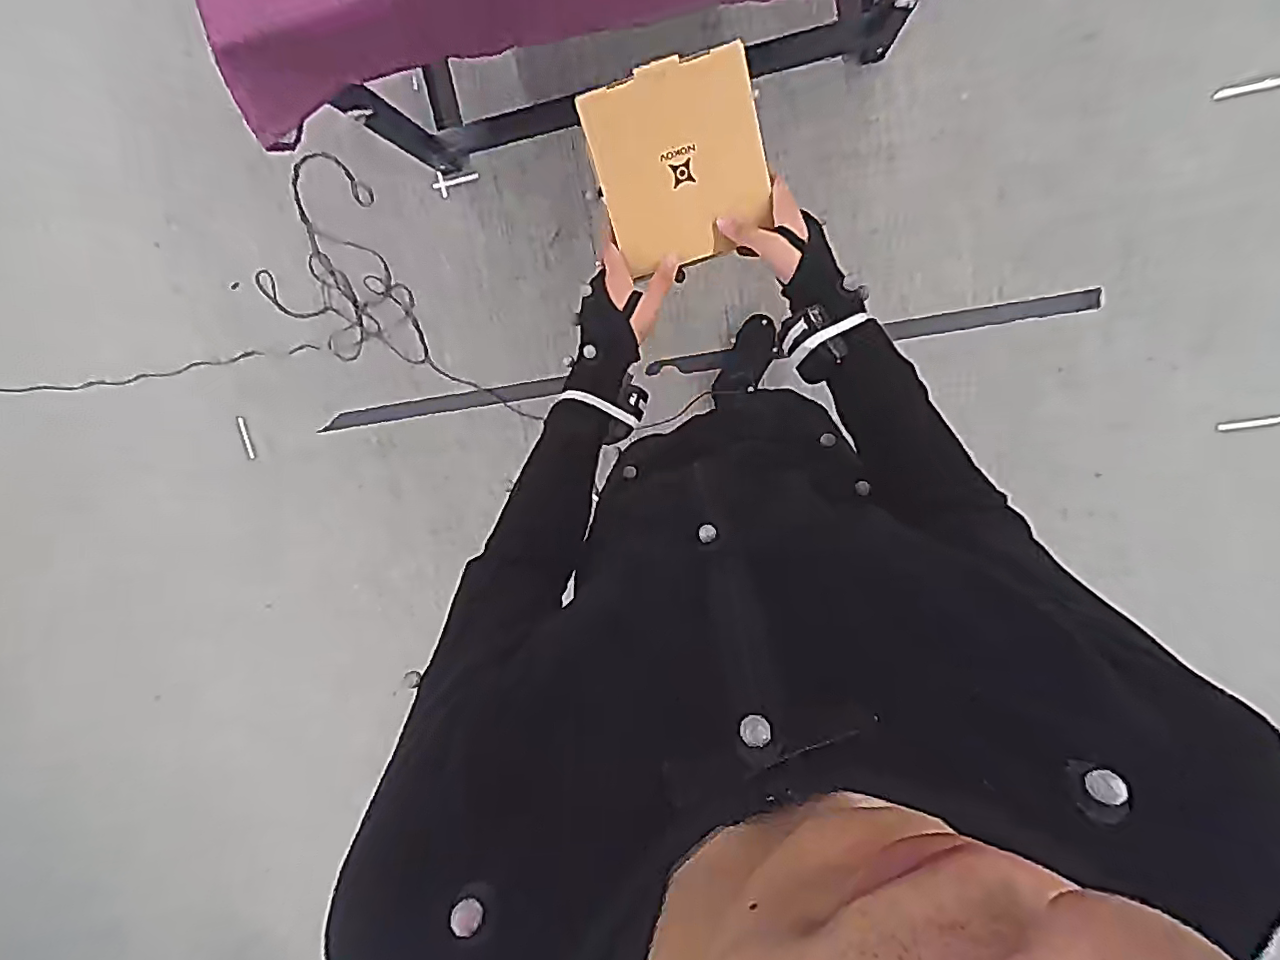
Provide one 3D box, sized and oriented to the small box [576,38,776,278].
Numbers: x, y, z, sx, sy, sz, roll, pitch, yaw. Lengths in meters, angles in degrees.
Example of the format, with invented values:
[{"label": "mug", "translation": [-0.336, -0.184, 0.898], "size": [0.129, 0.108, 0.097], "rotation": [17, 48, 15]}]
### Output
[{"label": "small box", "translation": [0.039, -0.338, 0.612], "size": [0.168, 0.176, 0.179], "rotation": [-17, 106, 4]}]
